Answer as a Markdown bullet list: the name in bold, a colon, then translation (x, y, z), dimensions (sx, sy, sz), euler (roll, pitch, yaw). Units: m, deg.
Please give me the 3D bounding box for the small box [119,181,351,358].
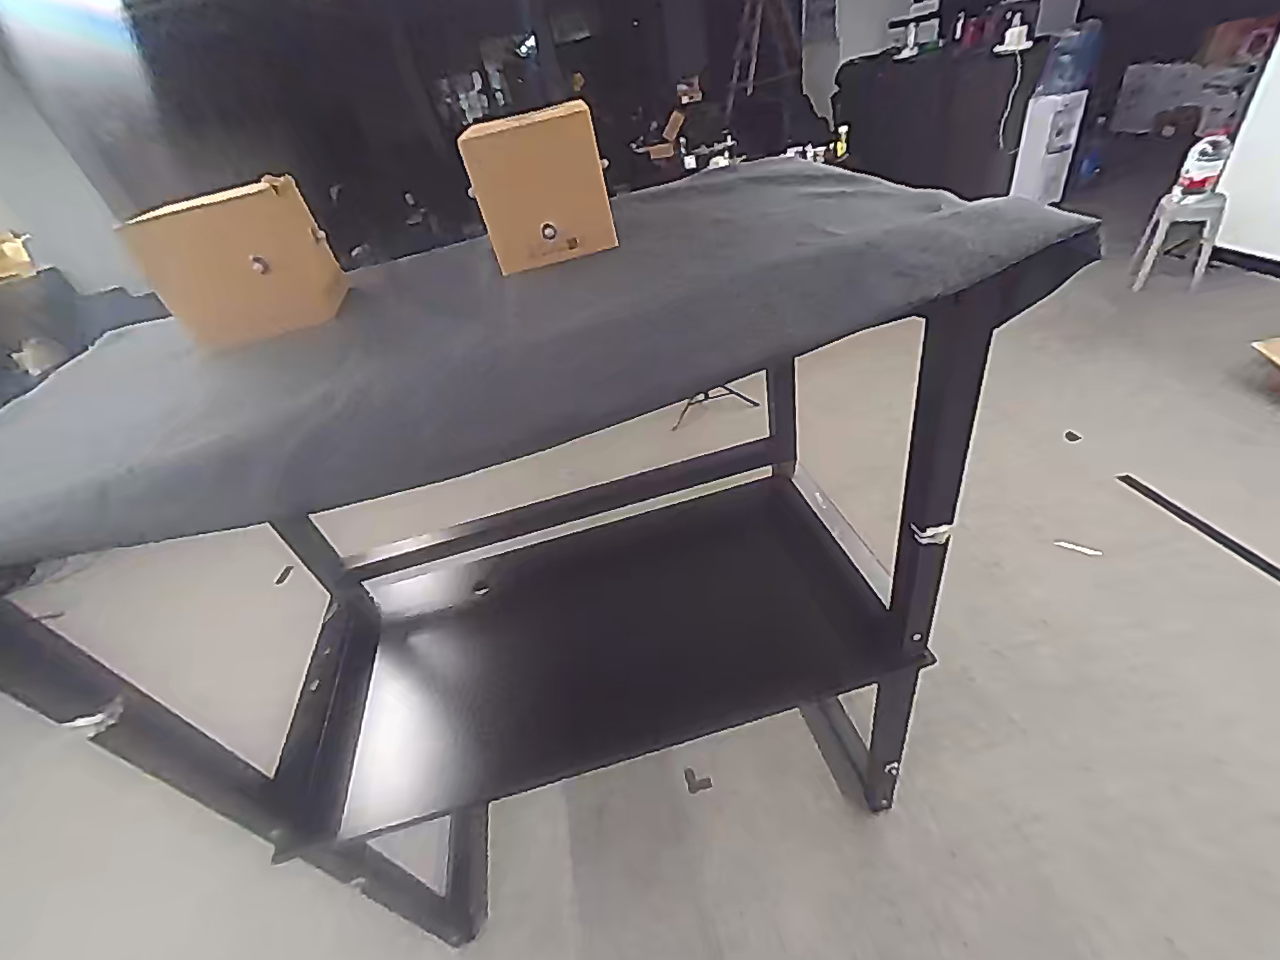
- **small box**: translation (-0.536, -0.294, 0.752), dimensions (0.179, 0.176, 0.168), euler (-17, 38, -5)
